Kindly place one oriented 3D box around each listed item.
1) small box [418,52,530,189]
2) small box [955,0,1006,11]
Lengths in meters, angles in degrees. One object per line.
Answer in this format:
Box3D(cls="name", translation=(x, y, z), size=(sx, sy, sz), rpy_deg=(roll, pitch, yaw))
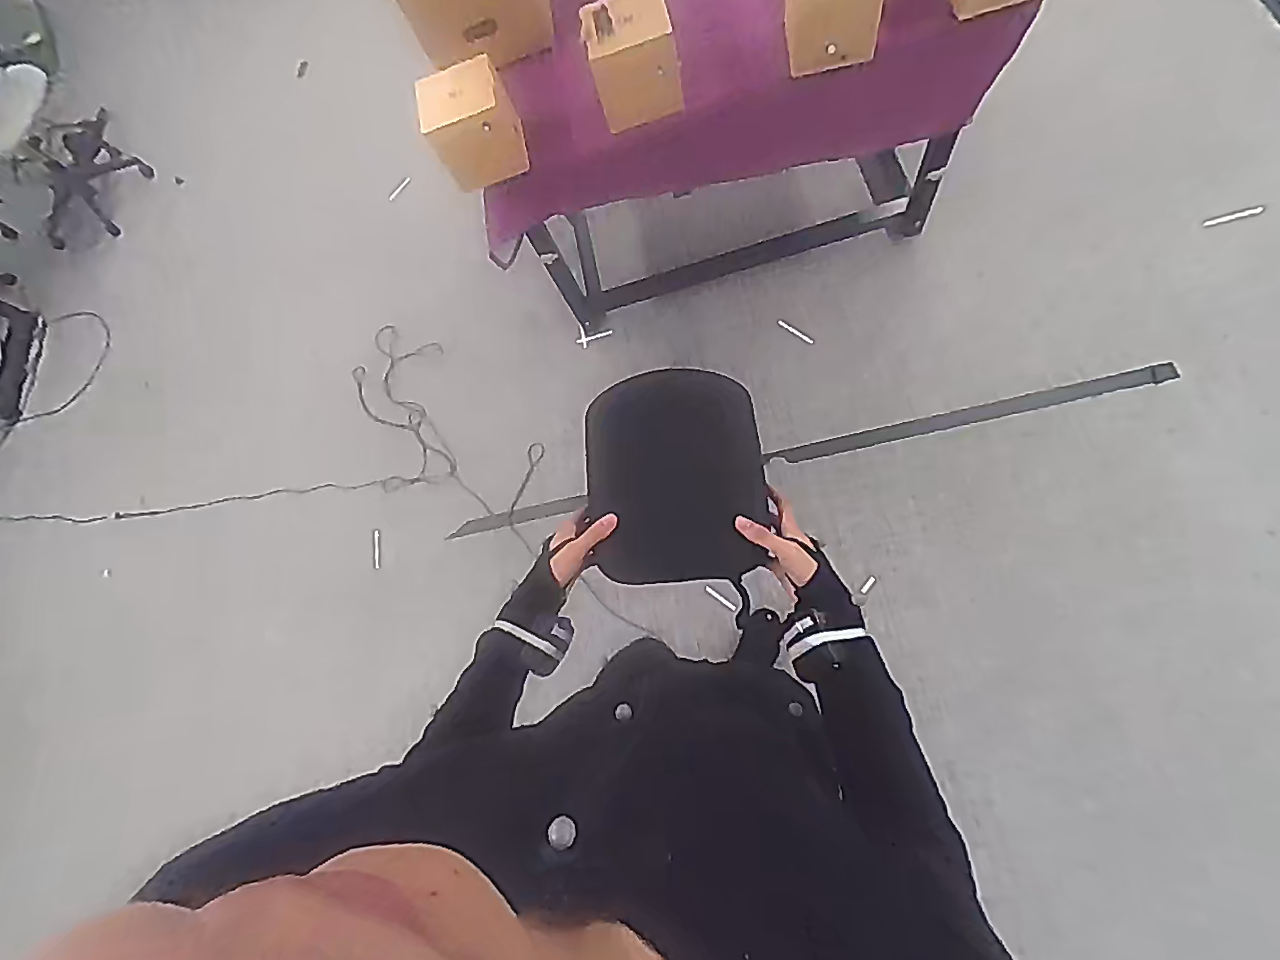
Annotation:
Box3D(cls="small box", translation=(-0.370, -0.798, 1.220), size=(0.179, 0.176, 0.168), rpy_deg=(-16, 71, 8))
Box3D(cls="small box", translation=(0.701, -1.061, 1.032), size=(0.168, 0.176, 0.179), rpy_deg=(-9, 72, 12))
